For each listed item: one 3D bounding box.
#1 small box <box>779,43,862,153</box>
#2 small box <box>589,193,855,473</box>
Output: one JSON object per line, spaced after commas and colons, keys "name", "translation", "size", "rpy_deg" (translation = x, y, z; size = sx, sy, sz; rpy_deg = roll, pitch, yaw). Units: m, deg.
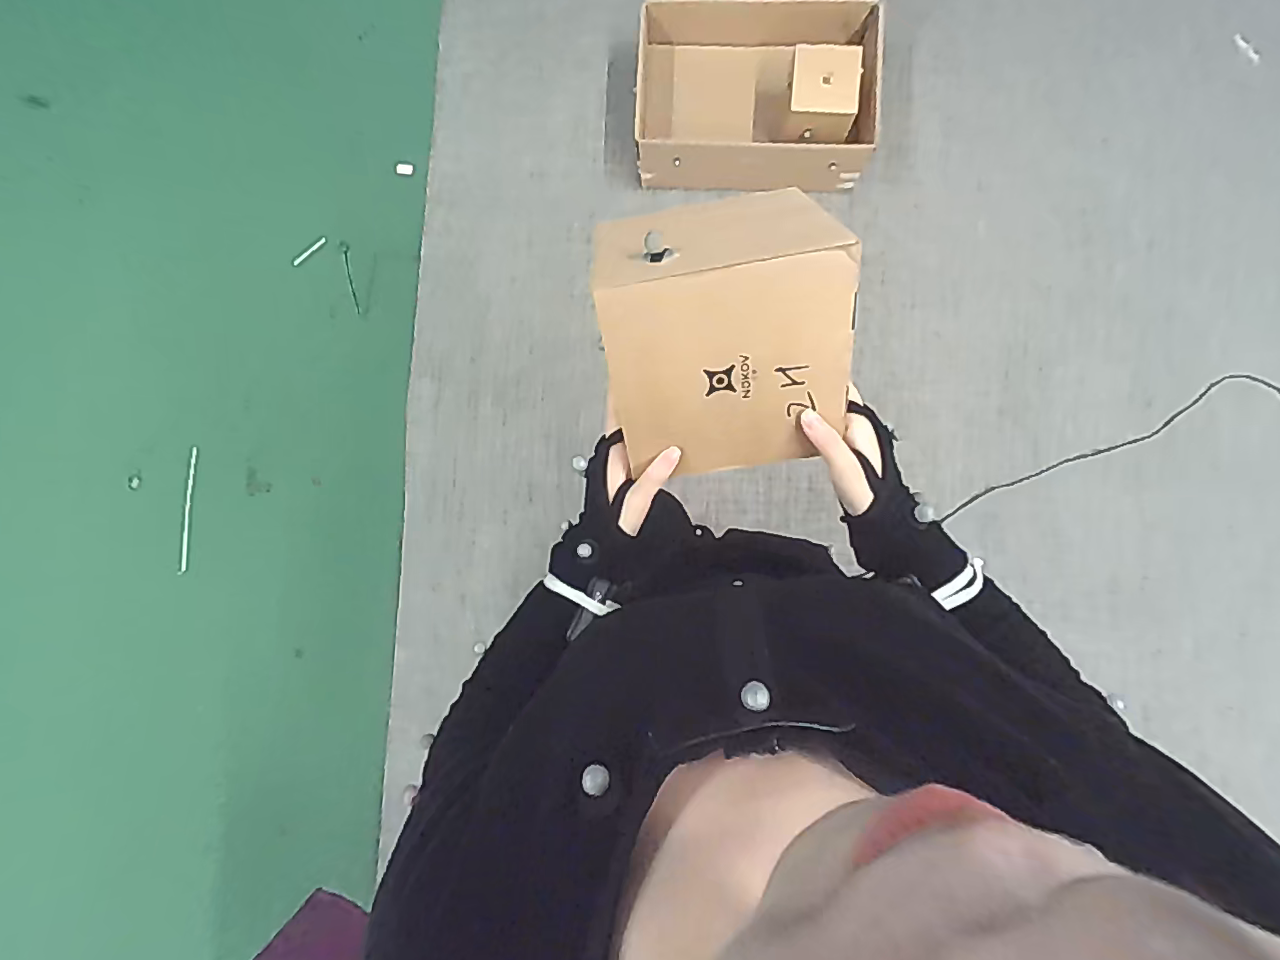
{"name": "small box", "translation": [0.465, -0.990, 1.414], "size": [0.168, 0.176, 0.179], "rpy_deg": [5, 87, 4]}
{"name": "small box", "translation": [0.061, -0.128, 0.462], "size": [0.179, 0.176, 0.168], "rpy_deg": [-7, 130, 4]}
